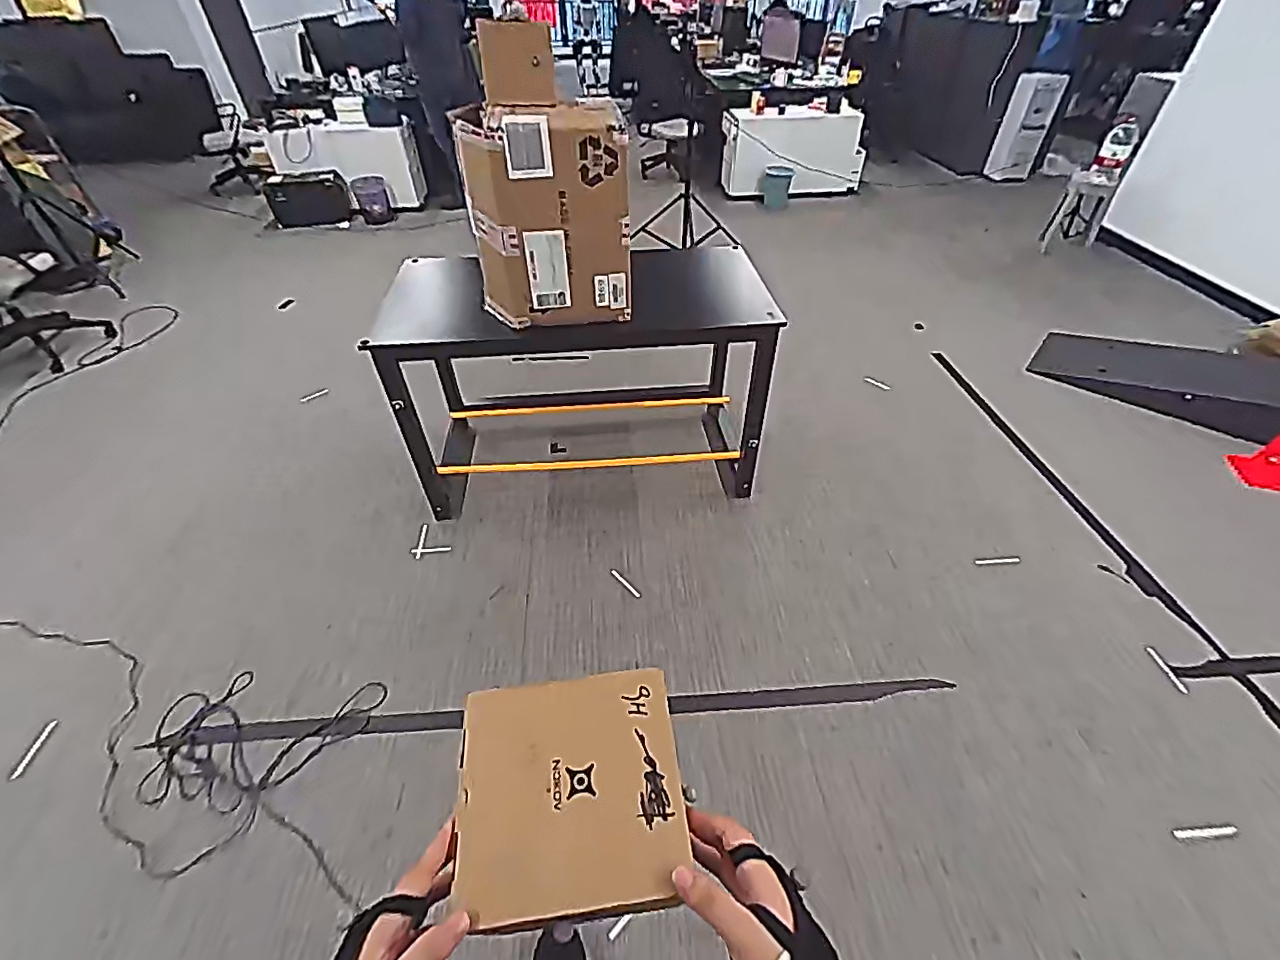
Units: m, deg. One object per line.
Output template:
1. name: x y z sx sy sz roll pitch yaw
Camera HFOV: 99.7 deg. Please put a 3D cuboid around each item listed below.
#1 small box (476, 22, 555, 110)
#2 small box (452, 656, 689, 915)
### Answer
1. small box: -0.311 -1.058 1.382 0.179 0.176 0.168 -6 40 -7
2. small box: -0.055 0.285 0.501 0.179 0.176 0.168 -7 49 -4
